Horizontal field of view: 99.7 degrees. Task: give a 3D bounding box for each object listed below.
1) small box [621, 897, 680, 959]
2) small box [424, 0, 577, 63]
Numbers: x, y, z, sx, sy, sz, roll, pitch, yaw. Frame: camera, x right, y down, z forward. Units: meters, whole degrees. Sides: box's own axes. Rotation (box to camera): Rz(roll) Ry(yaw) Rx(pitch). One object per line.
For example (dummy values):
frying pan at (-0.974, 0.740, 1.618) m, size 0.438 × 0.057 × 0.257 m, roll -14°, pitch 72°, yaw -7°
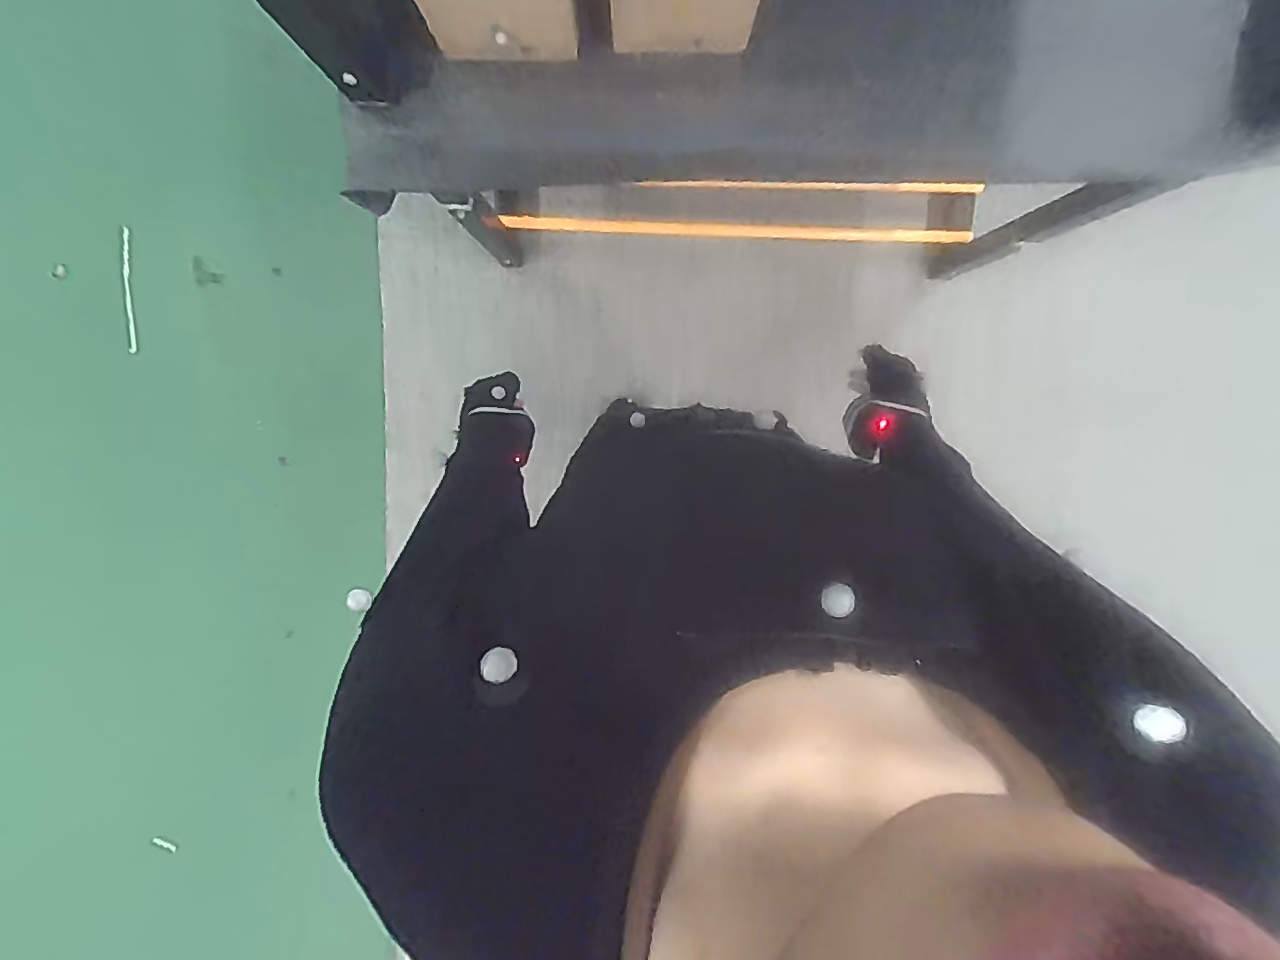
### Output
small box at (0.028, 1.369, 1.580) m, size 0.168 × 0.176 × 0.179 m, roll -1°, pitch 96°, yaw -2°
small box at (-0.158, -0.597, 0.580) m, size 0.168 × 0.176 × 0.179 m, roll 0°, pitch 97°, yaw -1°
